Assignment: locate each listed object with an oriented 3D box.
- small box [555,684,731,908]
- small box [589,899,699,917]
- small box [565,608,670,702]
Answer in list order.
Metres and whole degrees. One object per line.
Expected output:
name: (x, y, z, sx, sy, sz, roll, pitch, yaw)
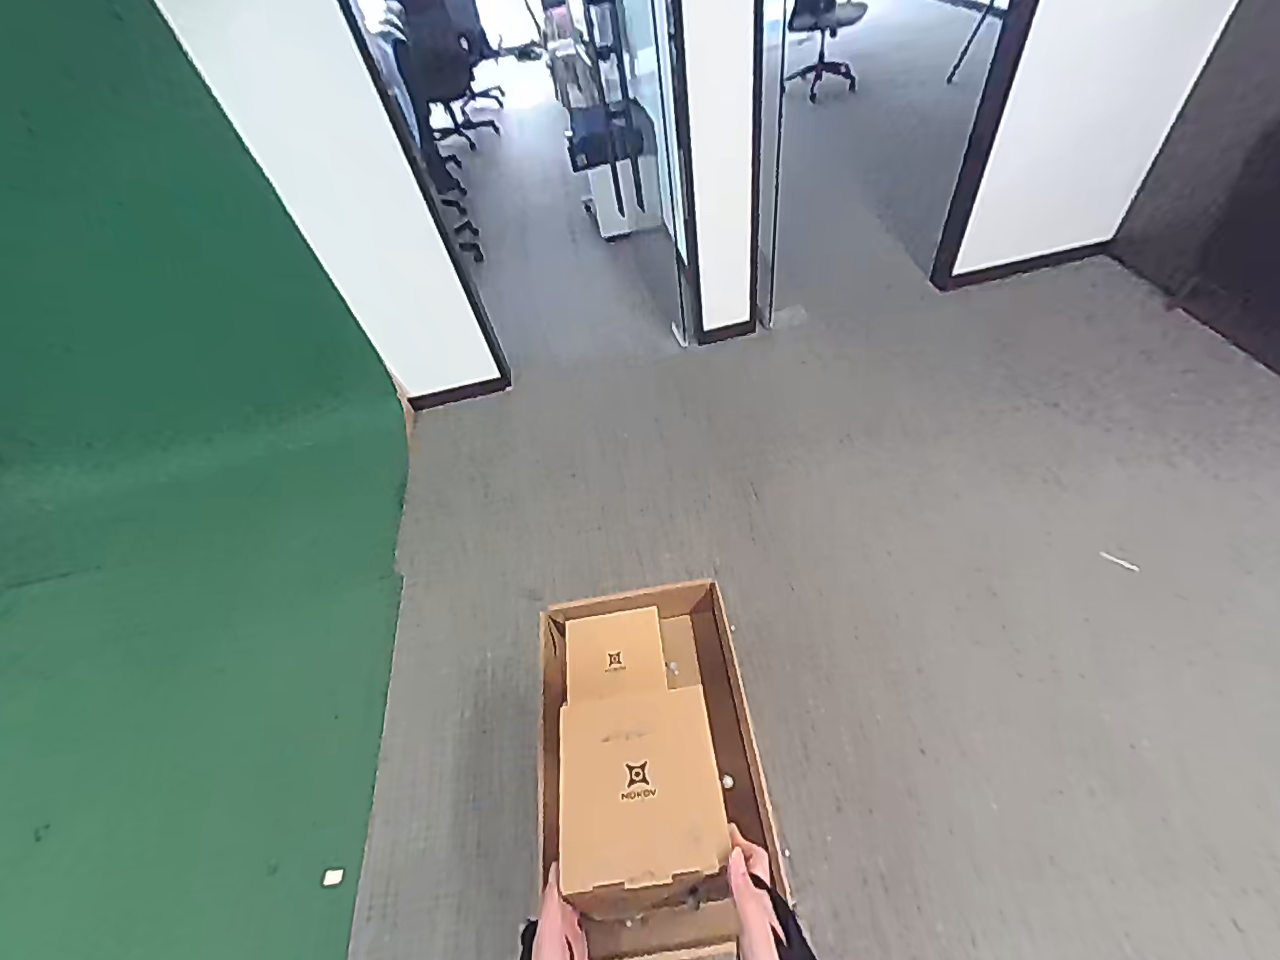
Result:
small box: (0.007, 0.357, 0.606, 0.168, 0.176, 0.179, -8, 44, 1)
small box: (0.007, 0.633, 0.928, 0.168, 0.176, 0.179, -9, 48, 2)
small box: (-0.035, 0.353, 0.961, 0.168, 0.176, 0.179, -9, 51, 2)
